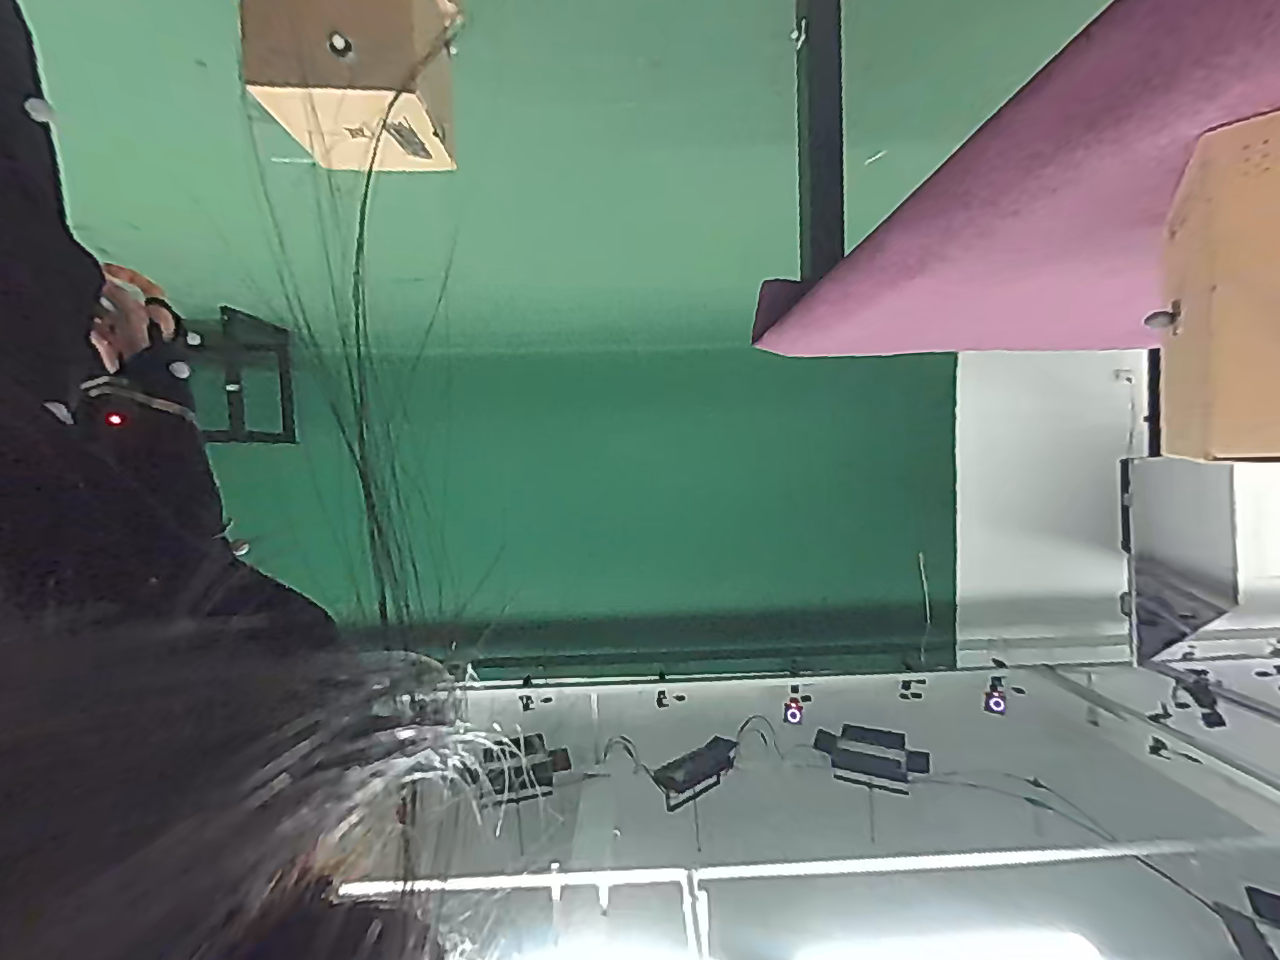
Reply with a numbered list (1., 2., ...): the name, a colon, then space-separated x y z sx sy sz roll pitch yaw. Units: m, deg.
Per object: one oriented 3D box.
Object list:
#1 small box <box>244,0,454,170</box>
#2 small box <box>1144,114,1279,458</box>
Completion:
1. small box: -0.330 -0.492 0.633 0.179 0.176 0.168 -1 -177 -5
2. small box: 0.398 -0.100 0.288 0.179 0.176 0.168 -1 -176 38
